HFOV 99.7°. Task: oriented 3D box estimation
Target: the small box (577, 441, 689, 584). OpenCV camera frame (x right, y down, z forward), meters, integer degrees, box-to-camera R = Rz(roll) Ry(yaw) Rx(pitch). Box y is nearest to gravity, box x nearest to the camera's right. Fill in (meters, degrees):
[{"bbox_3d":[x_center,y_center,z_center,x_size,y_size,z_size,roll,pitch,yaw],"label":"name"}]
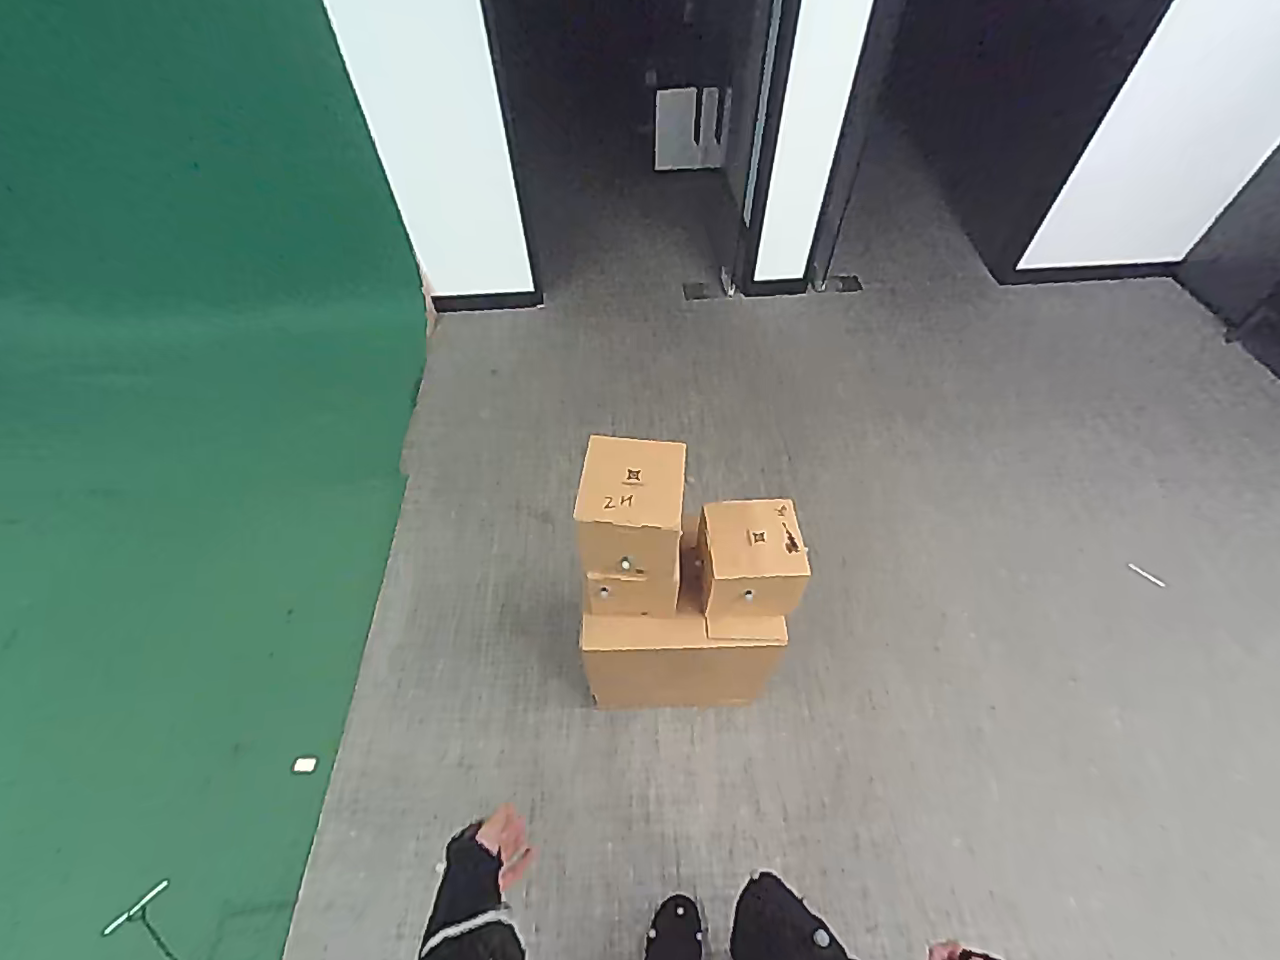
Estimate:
[{"bbox_3d":[-0.008,0.056,0.931,0.168,0.176,0.179,5,53,4],"label":"small box"}]
